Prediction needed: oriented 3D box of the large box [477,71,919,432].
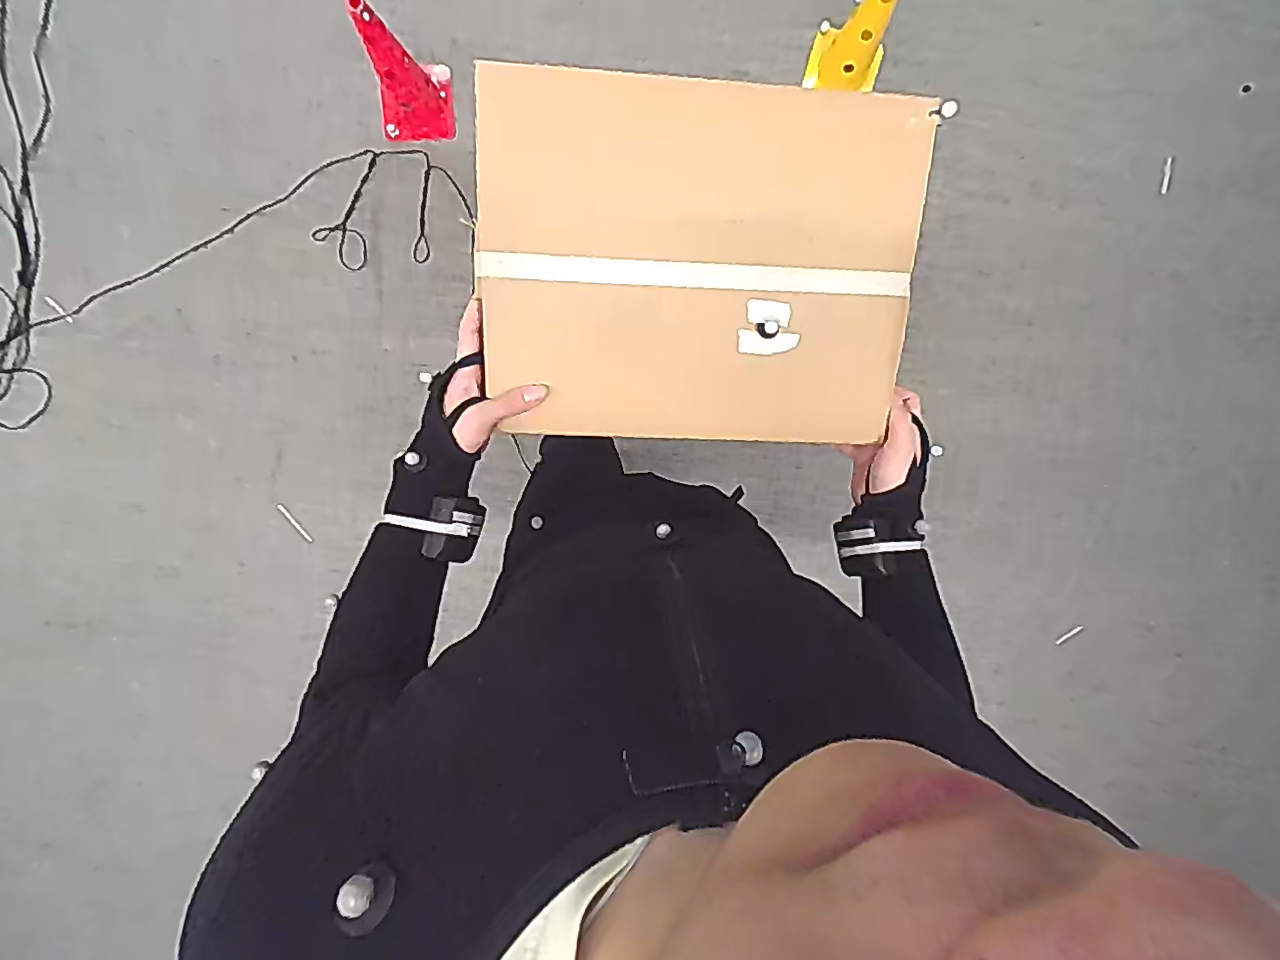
[{"bbox_3d":[0.041,-0.237,0.656,0.408,0.320,0.320,1,106,-5],"label":"large box"}]
